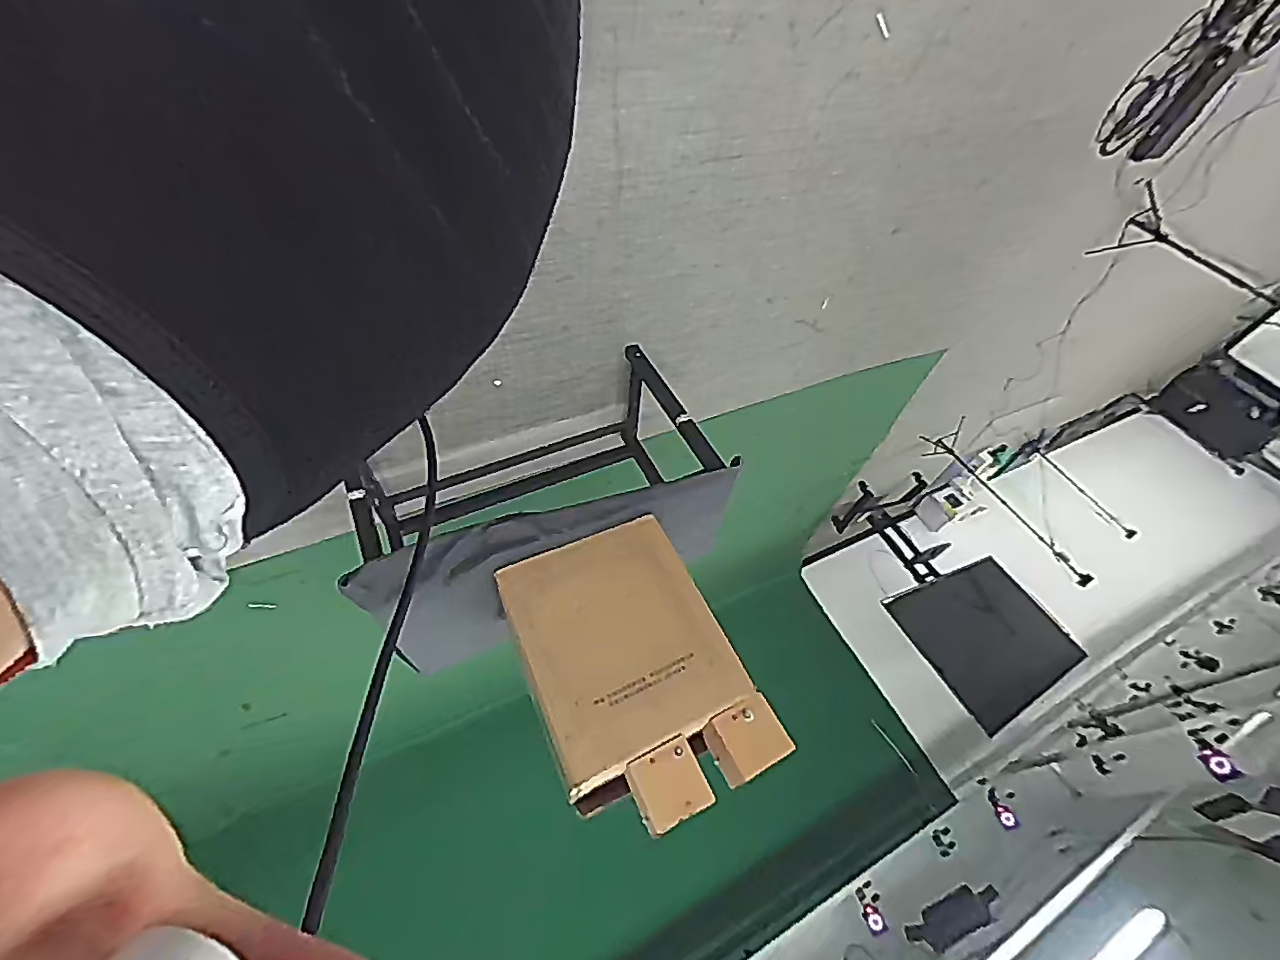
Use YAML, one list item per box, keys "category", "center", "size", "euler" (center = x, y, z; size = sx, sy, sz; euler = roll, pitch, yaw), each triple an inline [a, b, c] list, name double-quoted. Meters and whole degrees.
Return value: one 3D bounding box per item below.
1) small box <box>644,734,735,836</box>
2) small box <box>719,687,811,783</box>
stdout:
- category: "small box"
  center: [0.121, 0.786, 1.404]
  size: [0.168, 0.176, 0.179]
  euler: [-22, 149, -17]
- category: "small box"
  center: [0.336, 0.700, 1.493]
  size: [0.168, 0.176, 0.179]
  euler: [-25, 148, -19]
